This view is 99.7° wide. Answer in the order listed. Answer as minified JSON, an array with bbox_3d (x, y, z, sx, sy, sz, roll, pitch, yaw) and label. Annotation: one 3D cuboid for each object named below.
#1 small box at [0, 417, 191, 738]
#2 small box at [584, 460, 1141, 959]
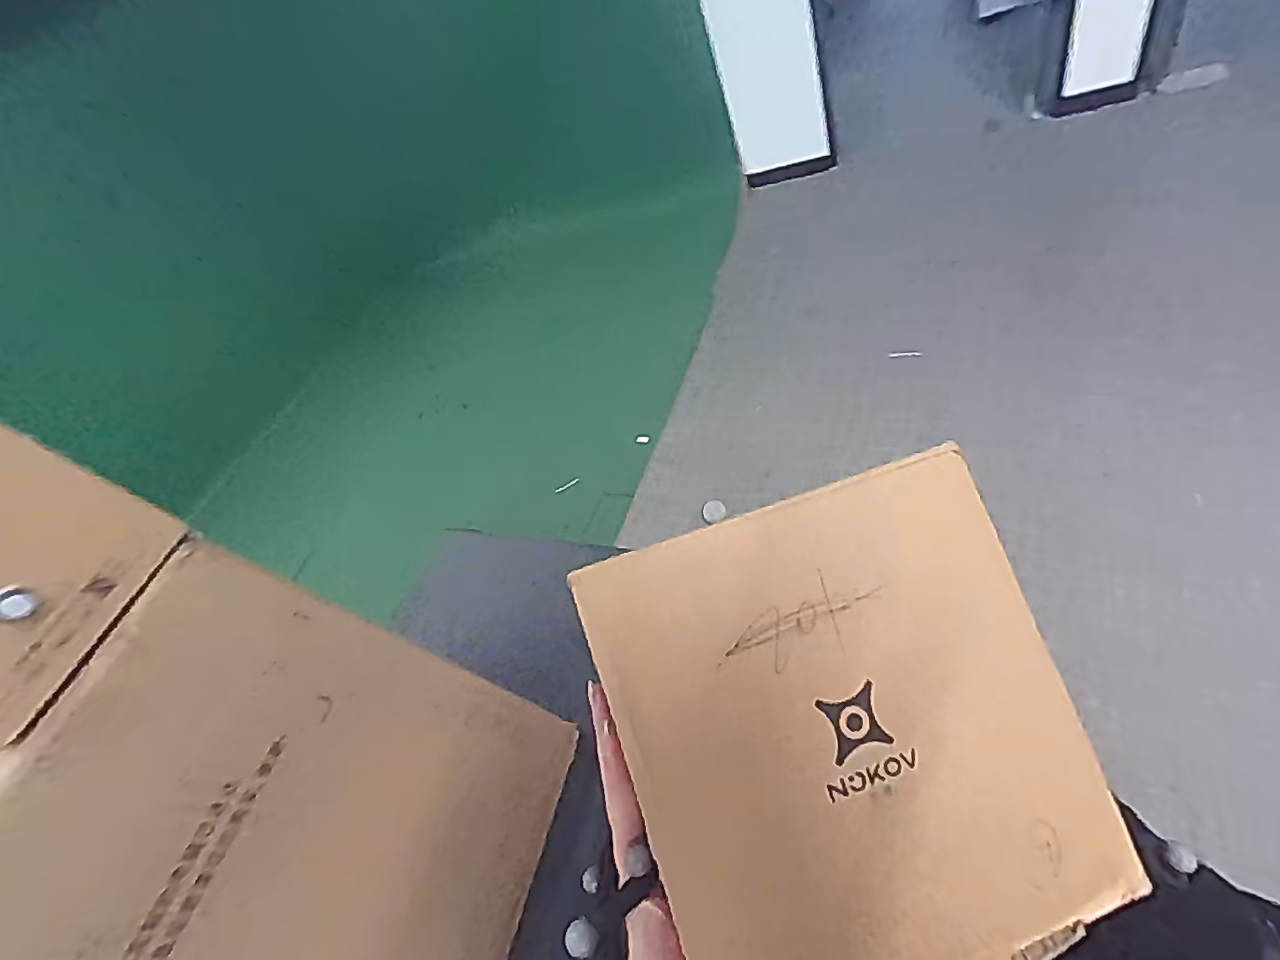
[{"bbox_3d":[-0.468,0.054,0.359,0.179,0.176,0.168,2,55,28],"label":"small box"},{"bbox_3d":[0.075,0.109,0.278,0.168,0.176,0.179,-17,80,-9],"label":"small box"}]
